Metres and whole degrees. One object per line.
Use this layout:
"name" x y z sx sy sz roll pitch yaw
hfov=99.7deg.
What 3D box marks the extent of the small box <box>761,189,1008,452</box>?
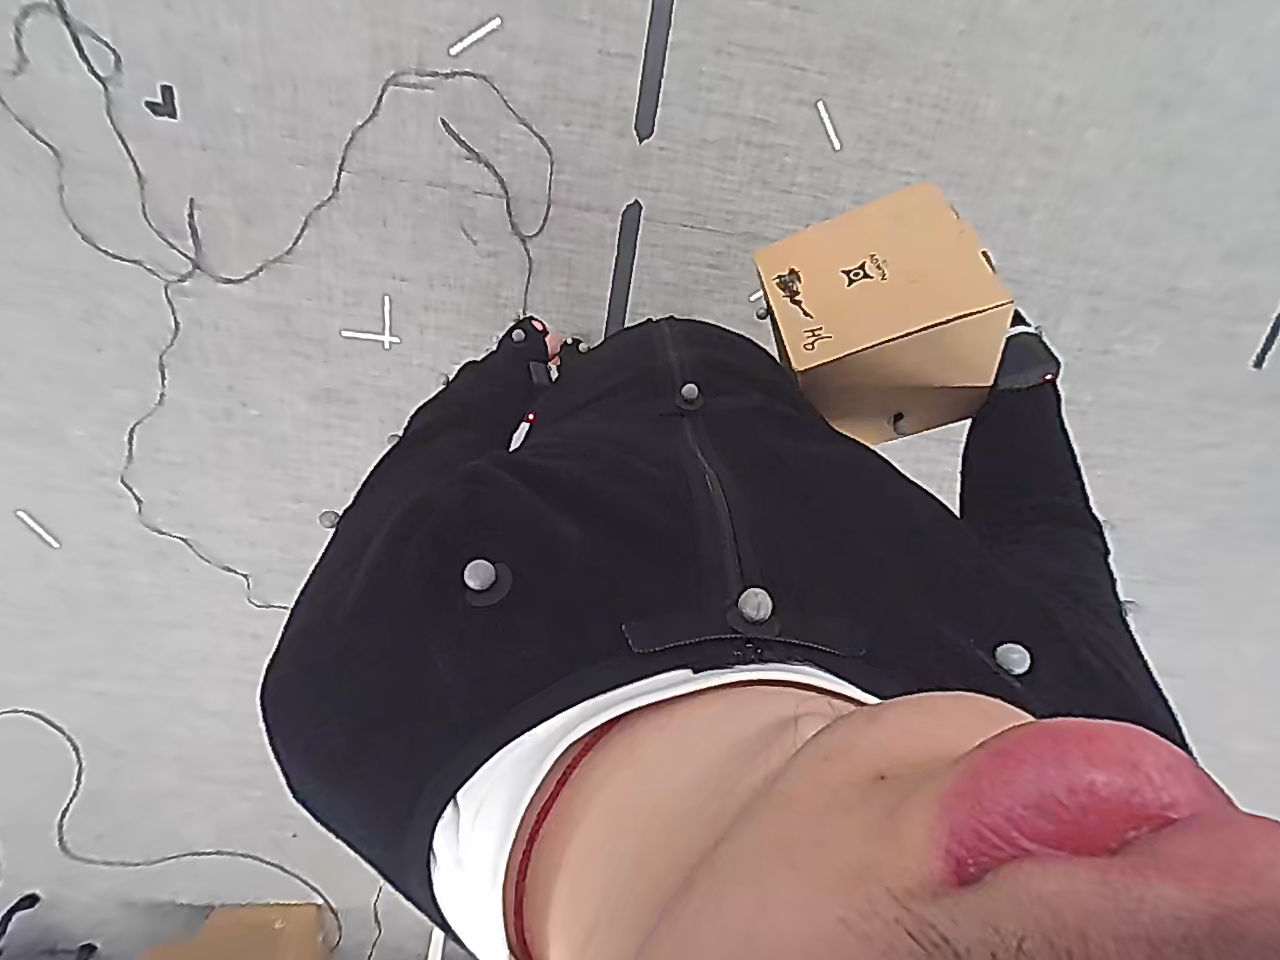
"small box" 0.241 -0.154 0.568 0.179 0.168 0.176 -17 148 15
